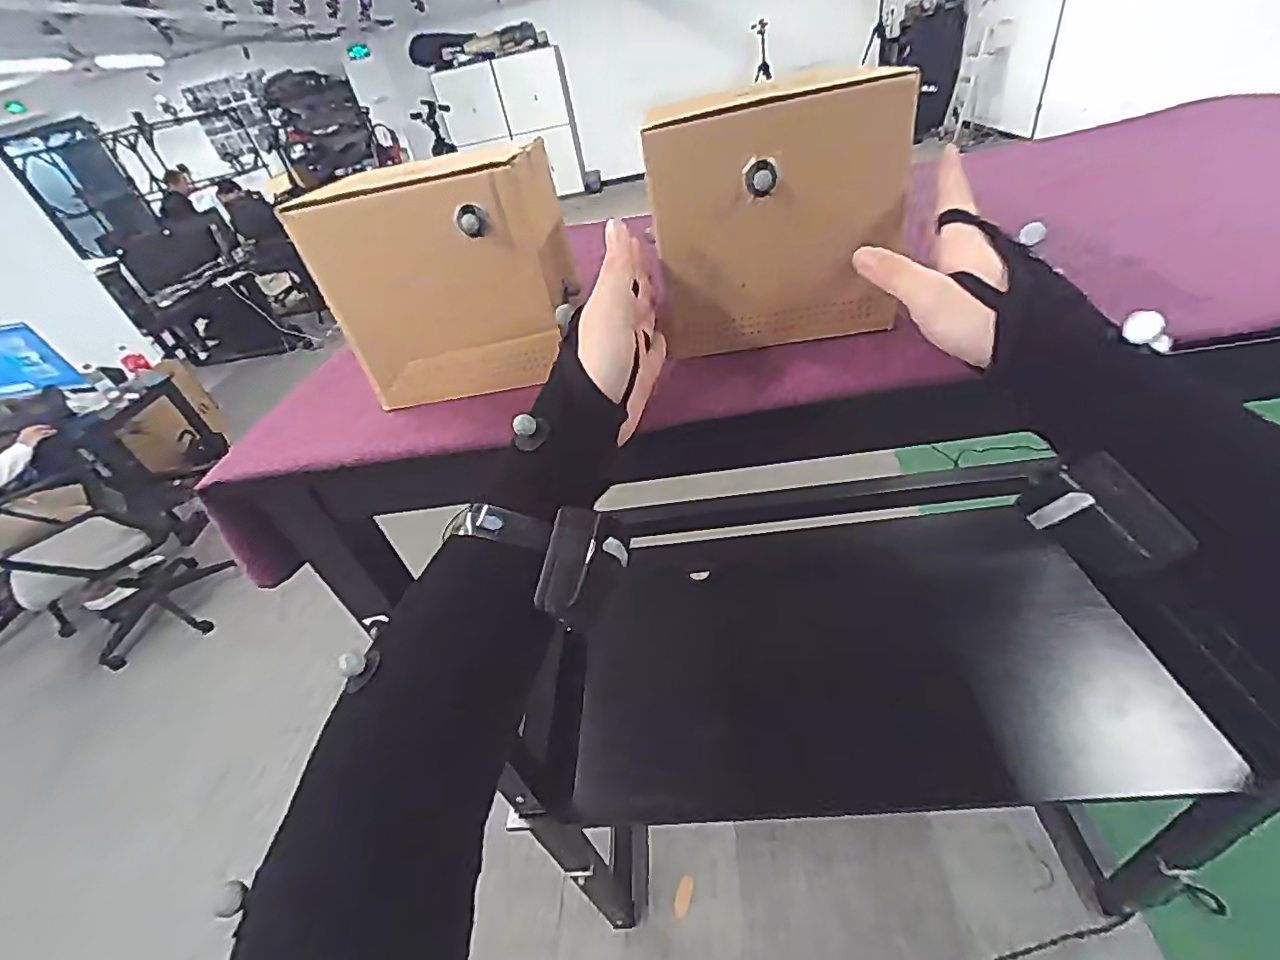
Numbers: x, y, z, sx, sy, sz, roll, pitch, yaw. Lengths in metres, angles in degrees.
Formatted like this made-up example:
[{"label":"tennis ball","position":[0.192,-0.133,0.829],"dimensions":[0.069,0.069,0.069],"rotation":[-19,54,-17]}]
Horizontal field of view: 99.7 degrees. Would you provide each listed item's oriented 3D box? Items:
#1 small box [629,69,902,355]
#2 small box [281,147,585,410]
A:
[{"label":"small box","position":[0.099,-0.219,0.451],"dimensions":[0.179,0.176,0.168],"rotation":[-7,38,10]},{"label":"small box","position":[-0.159,-0.178,0.487],"dimensions":[0.179,0.176,0.168],"rotation":[-9,37,5]}]
